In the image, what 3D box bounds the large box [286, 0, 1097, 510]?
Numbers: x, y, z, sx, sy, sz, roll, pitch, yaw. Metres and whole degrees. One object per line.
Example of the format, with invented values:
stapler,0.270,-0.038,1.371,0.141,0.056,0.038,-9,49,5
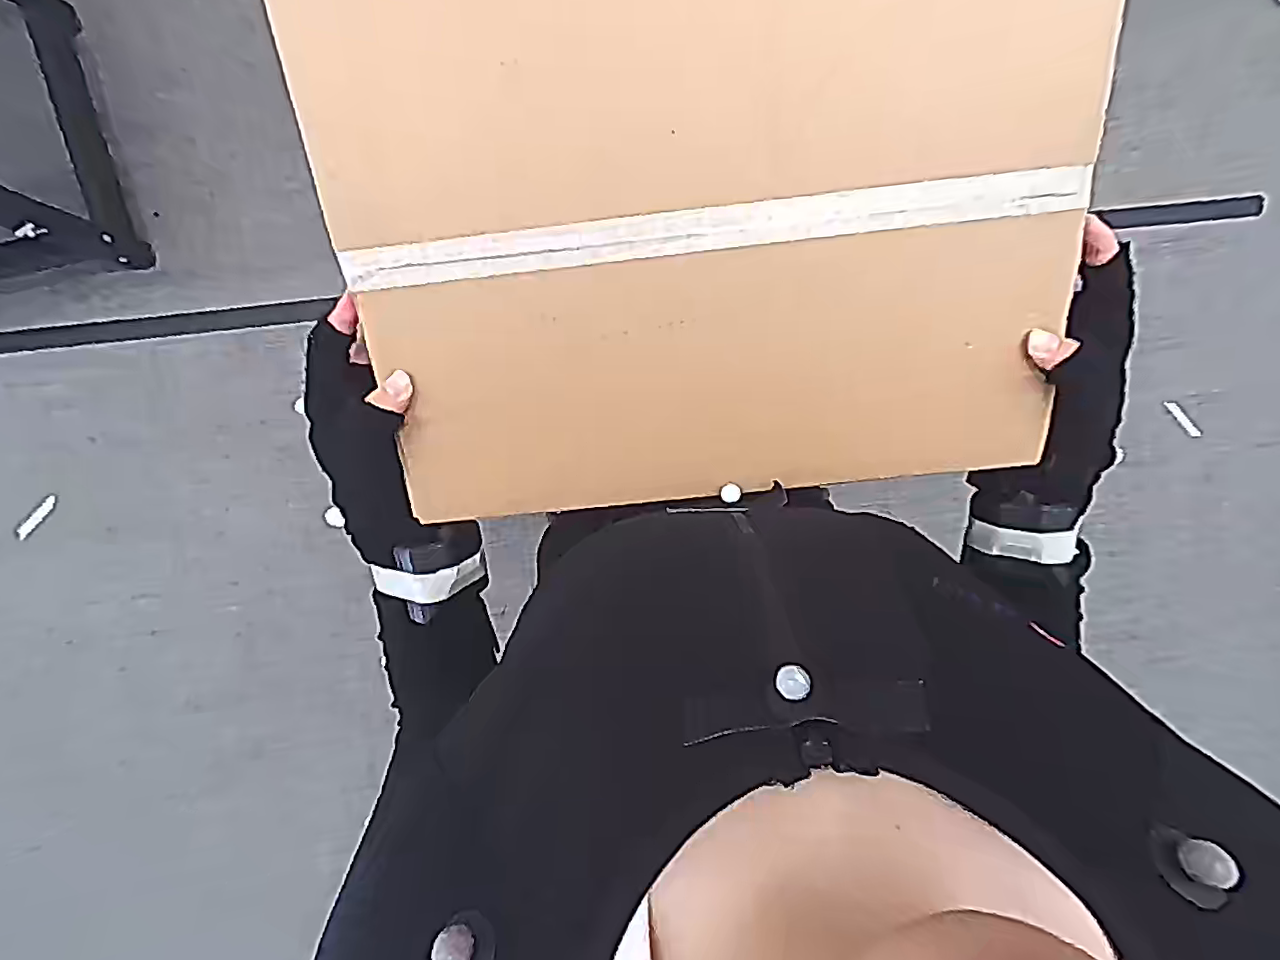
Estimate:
large box,0.033,-0.196,0.442,0.408,0.320,0.320,-6,113,1
